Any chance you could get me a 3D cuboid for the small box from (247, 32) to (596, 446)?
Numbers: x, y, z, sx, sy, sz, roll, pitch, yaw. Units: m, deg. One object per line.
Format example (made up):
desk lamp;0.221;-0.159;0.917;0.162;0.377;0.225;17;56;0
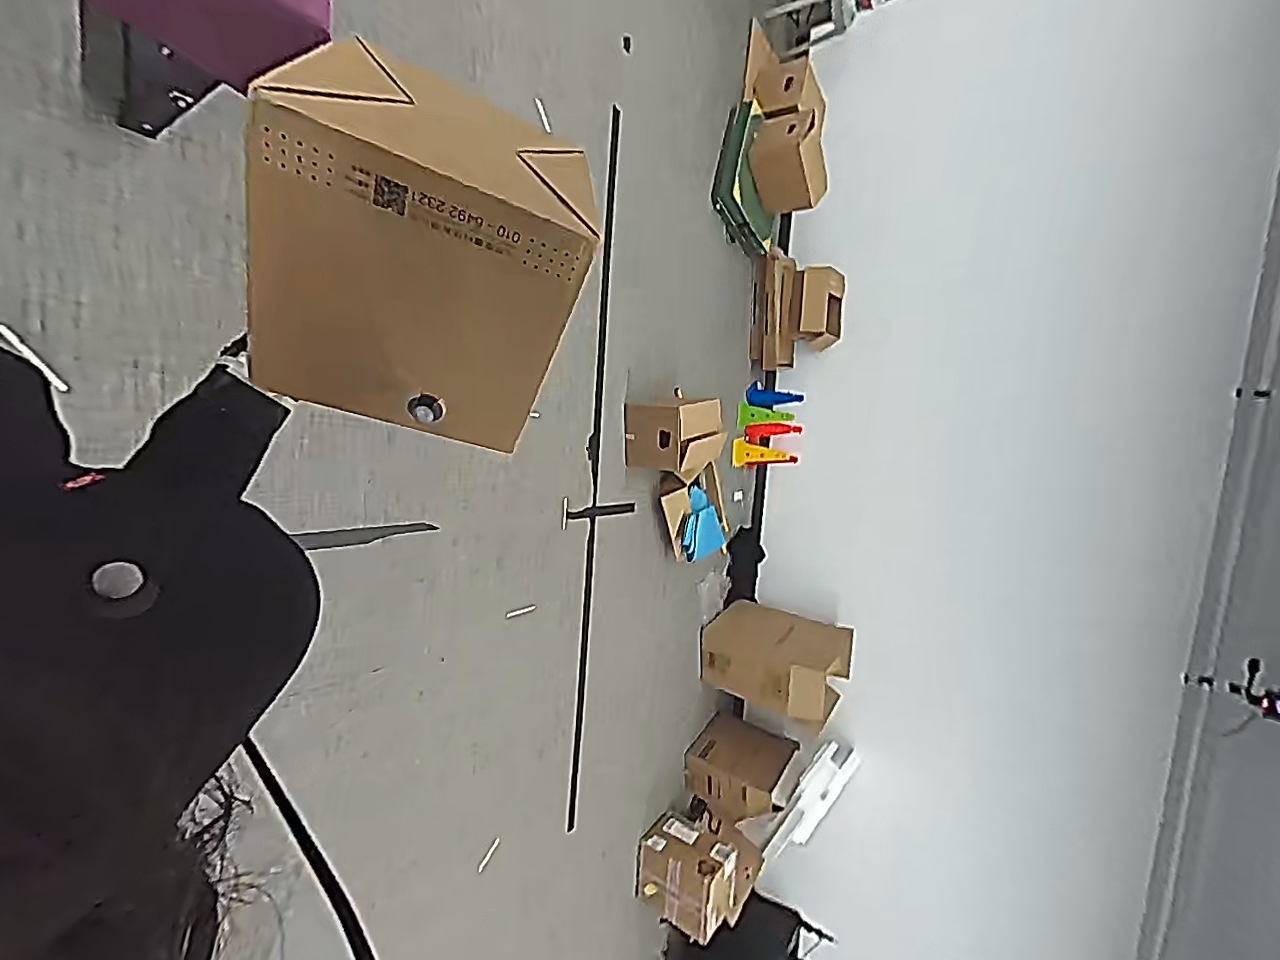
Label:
small box;-0.137;-0.157;0.363;0.168;0.176;0.179;14;42;-22
